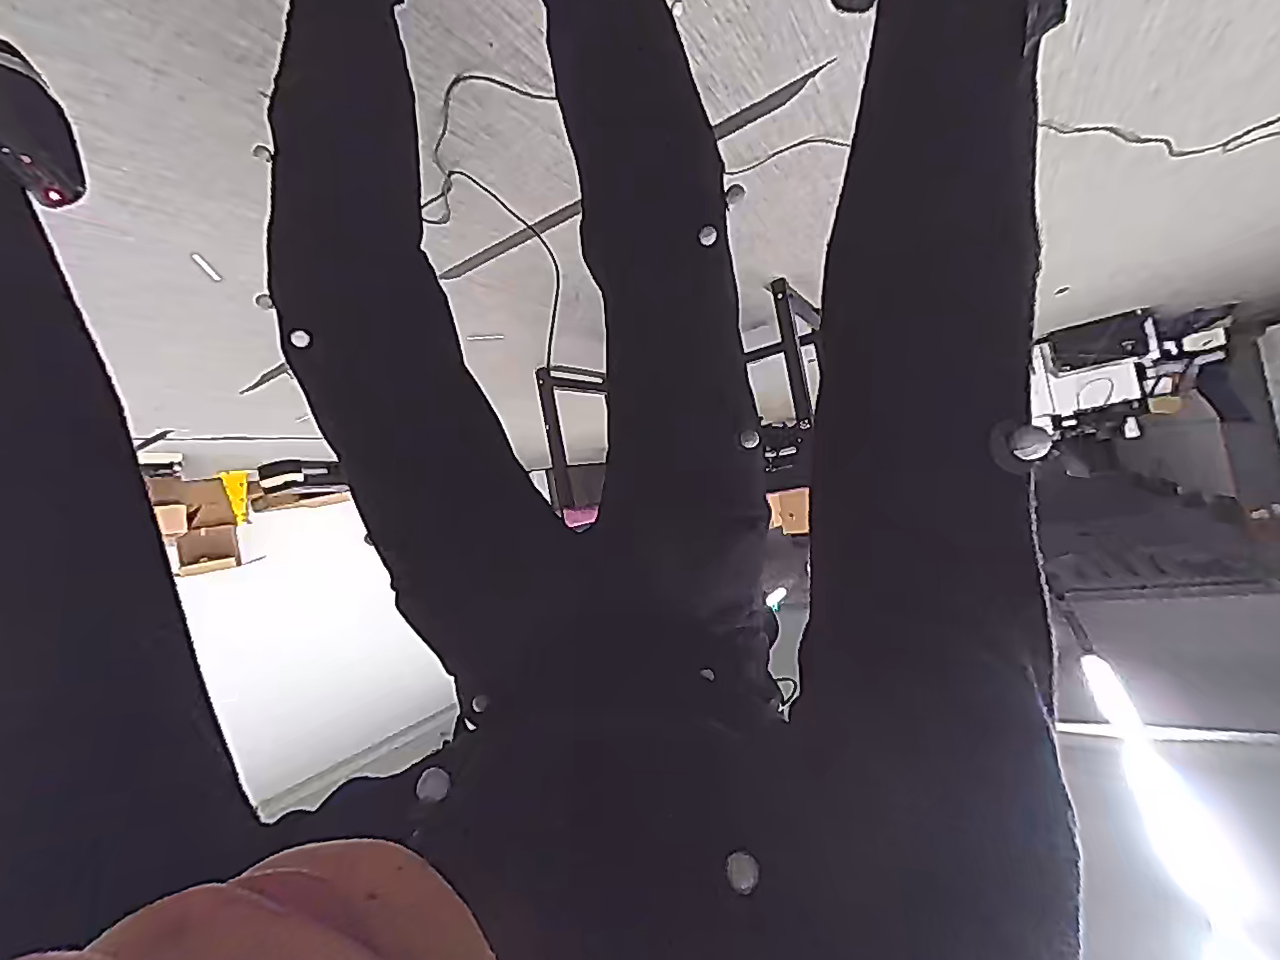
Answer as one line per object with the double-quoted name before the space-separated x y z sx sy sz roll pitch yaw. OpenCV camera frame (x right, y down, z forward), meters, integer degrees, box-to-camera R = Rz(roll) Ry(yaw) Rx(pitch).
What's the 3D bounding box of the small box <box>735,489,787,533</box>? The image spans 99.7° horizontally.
"small box" 0.532 0.136 2.381 0.168 0.176 0.179 -12 176 34
